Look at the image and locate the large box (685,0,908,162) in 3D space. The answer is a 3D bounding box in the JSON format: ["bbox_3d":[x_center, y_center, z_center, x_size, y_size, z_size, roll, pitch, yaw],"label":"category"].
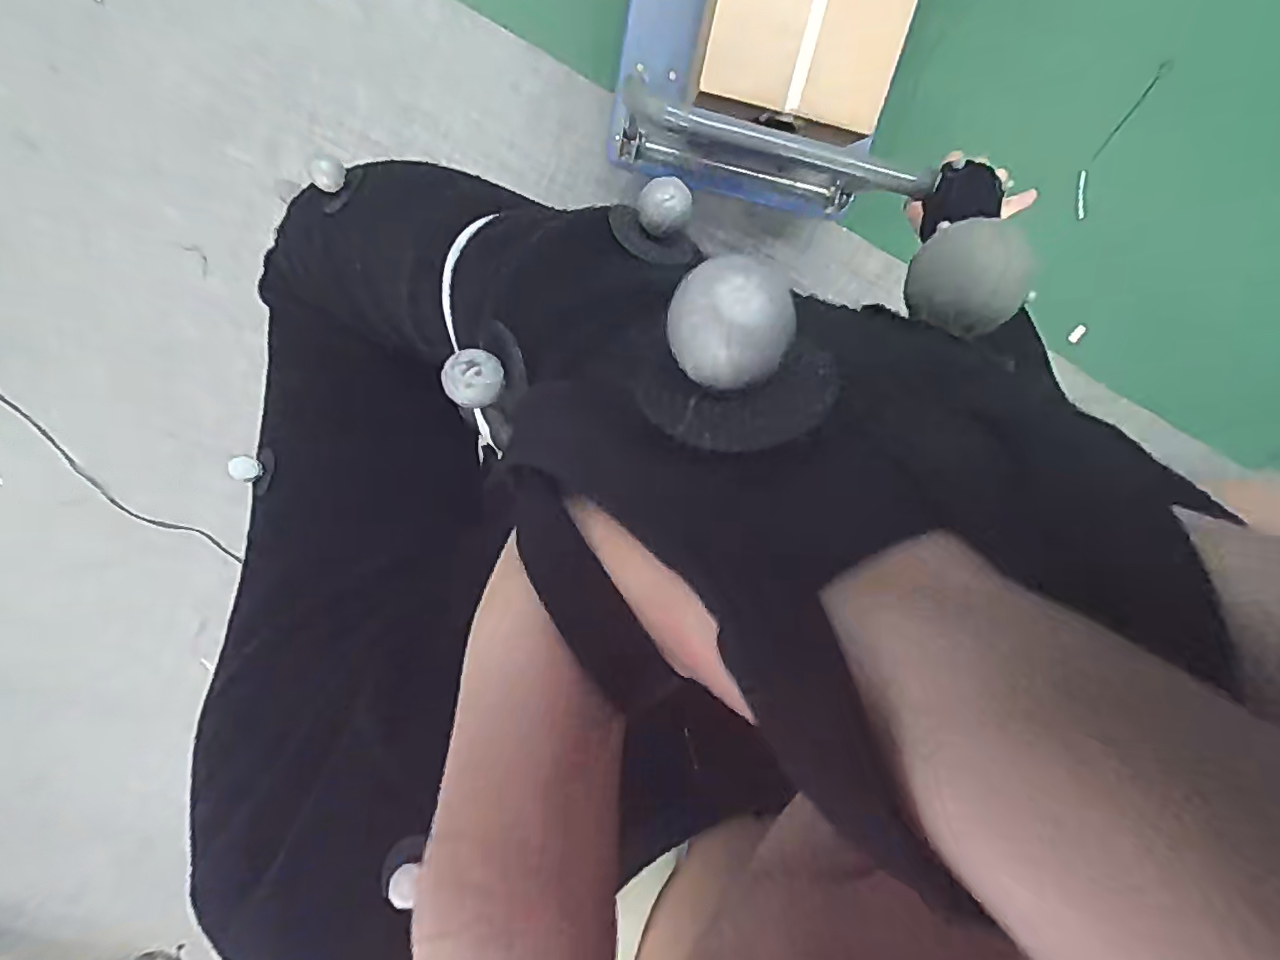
[{"bbox_3d":[0.281,-0.858,0.989,0.320,0.320,0.408,10,112,-6],"label":"large box"}]
